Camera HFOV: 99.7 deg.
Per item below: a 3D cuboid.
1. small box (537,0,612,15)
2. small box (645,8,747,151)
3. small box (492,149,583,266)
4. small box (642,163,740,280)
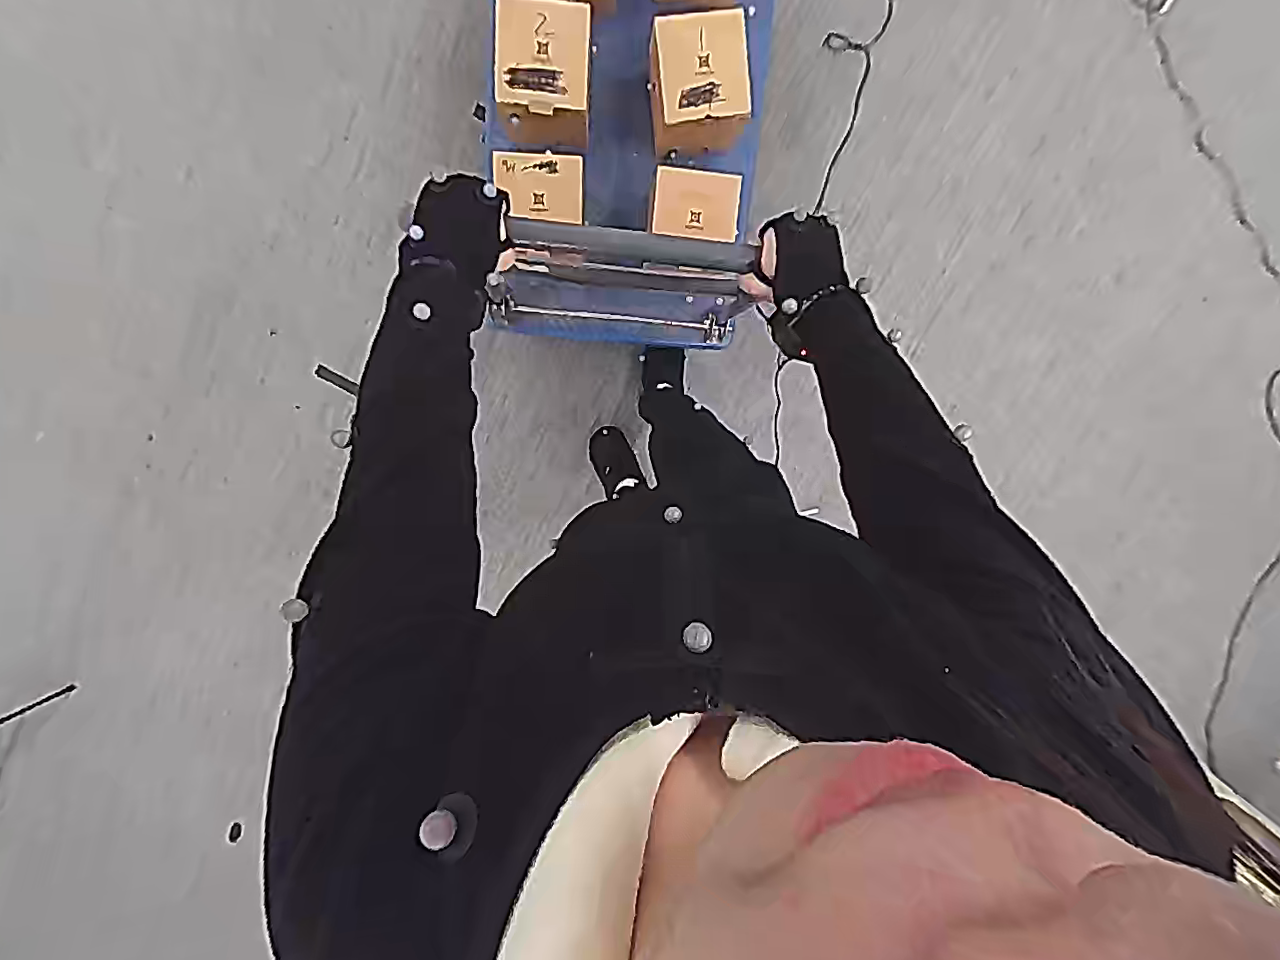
[{"bbox_3d":[-0.123,-1.020,0.995,0.168,0.176,0.179,5,102,-6],"label":"small box"},{"bbox_3d":[0.105,-0.775,1.067,0.168,0.176,0.179,-8,101,-3],"label":"small box"},{"bbox_3d":[-0.200,-0.537,1.091,0.168,0.176,0.179,0,102,-6],"label":"small box"},{"bbox_3d":[0.096,-0.523,1.121,0.168,0.176,0.179,4,101,-6],"label":"small box"}]
